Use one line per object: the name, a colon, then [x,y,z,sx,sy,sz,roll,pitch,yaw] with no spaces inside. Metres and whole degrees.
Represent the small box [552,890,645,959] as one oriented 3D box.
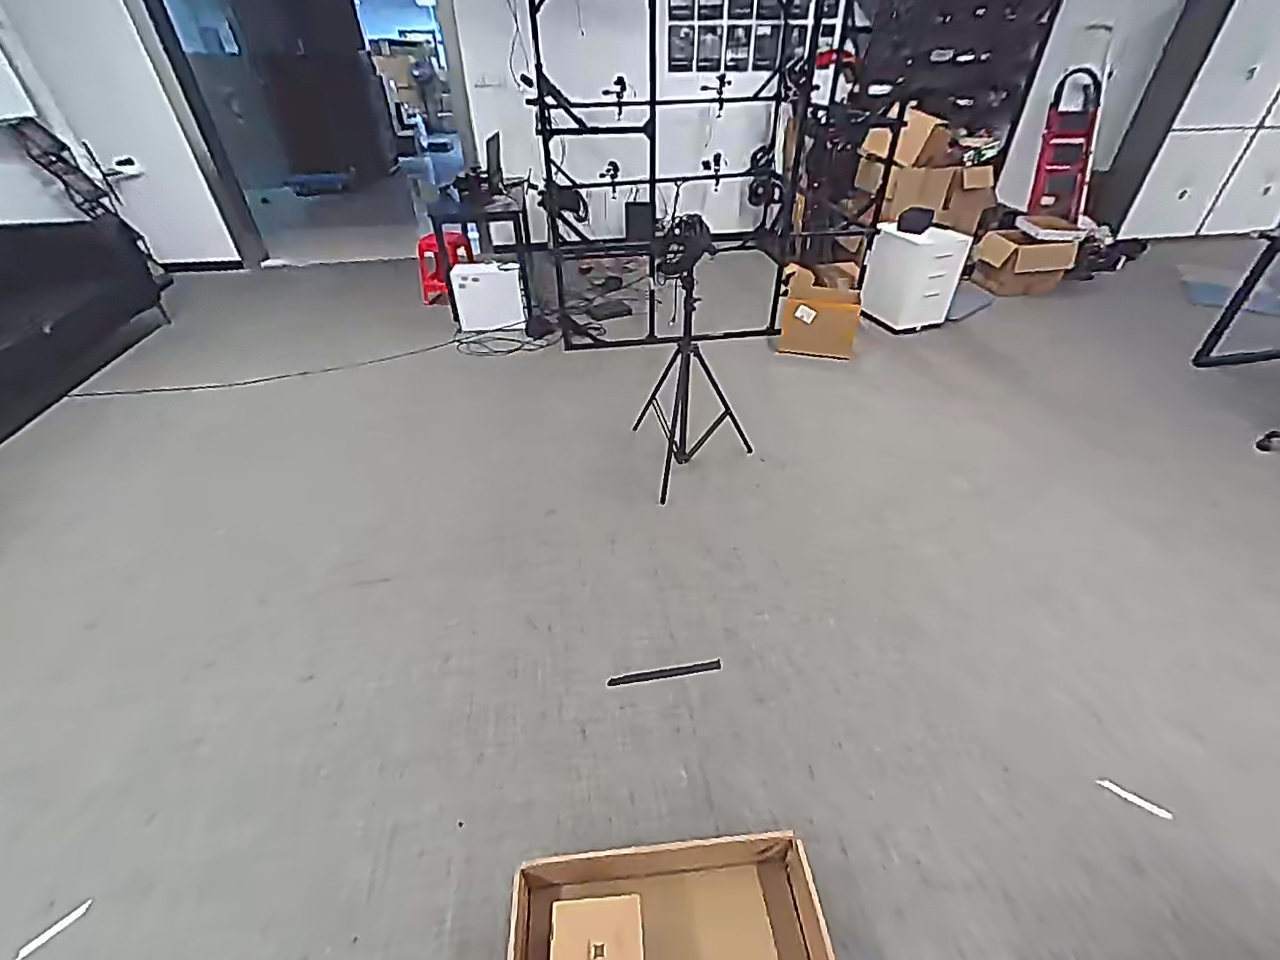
small box: [-0.080,0.945,1.074,0.179,0.176,0.168,-2,40,-5]
